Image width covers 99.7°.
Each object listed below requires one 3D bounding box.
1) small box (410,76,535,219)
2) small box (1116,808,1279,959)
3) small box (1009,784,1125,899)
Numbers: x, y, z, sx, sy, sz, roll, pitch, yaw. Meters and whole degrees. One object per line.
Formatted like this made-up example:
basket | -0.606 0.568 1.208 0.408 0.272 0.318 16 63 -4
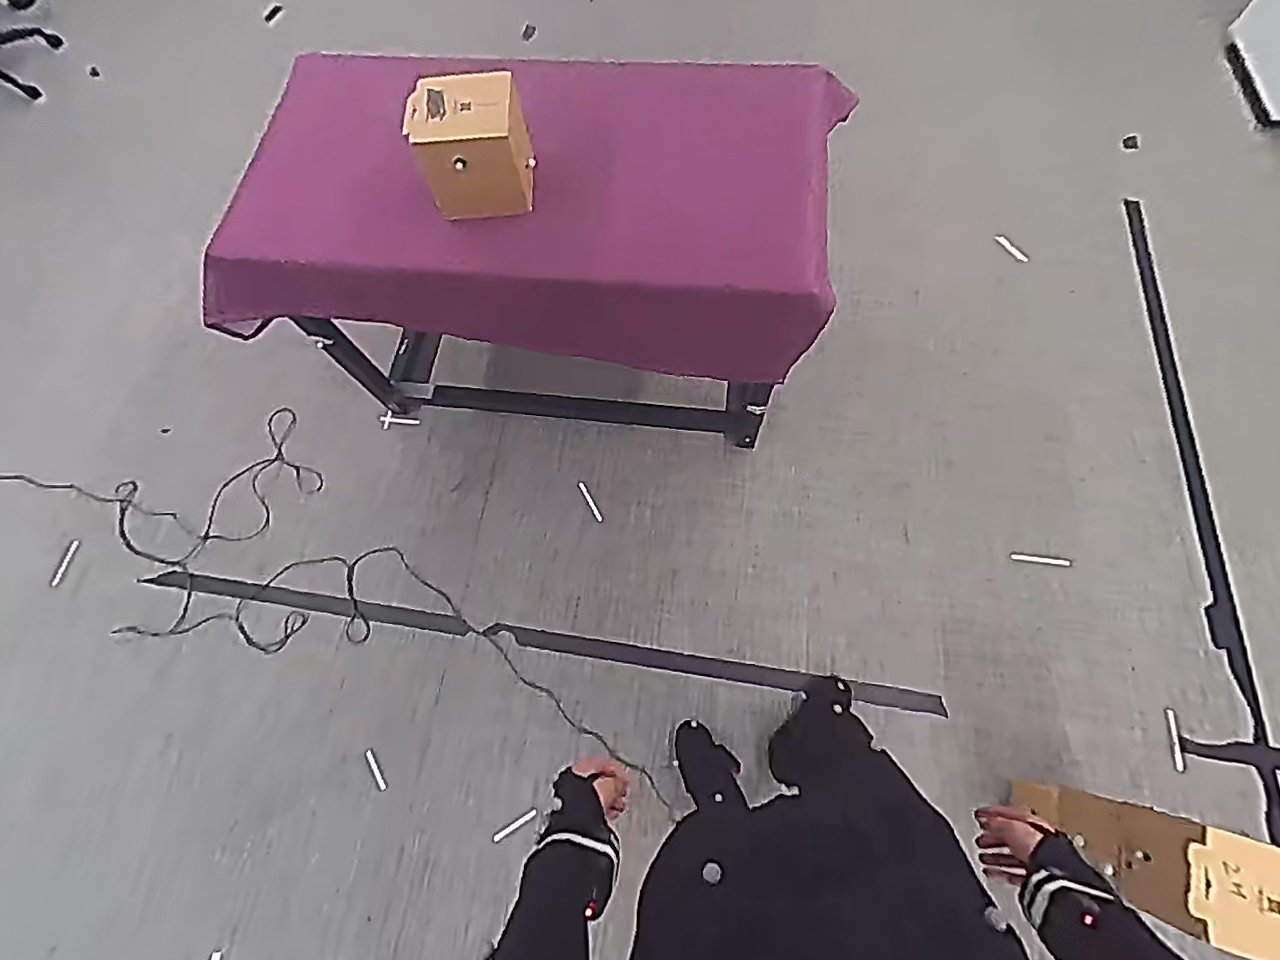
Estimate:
small box | -0.308 -0.623 1.029 0.179 0.176 0.168 -3 69 2
small box | 0.948 0.672 0.893 0.179 0.176 0.168 16 72 9
small box | 0.952 0.794 1.201 0.179 0.176 0.168 11 71 7
